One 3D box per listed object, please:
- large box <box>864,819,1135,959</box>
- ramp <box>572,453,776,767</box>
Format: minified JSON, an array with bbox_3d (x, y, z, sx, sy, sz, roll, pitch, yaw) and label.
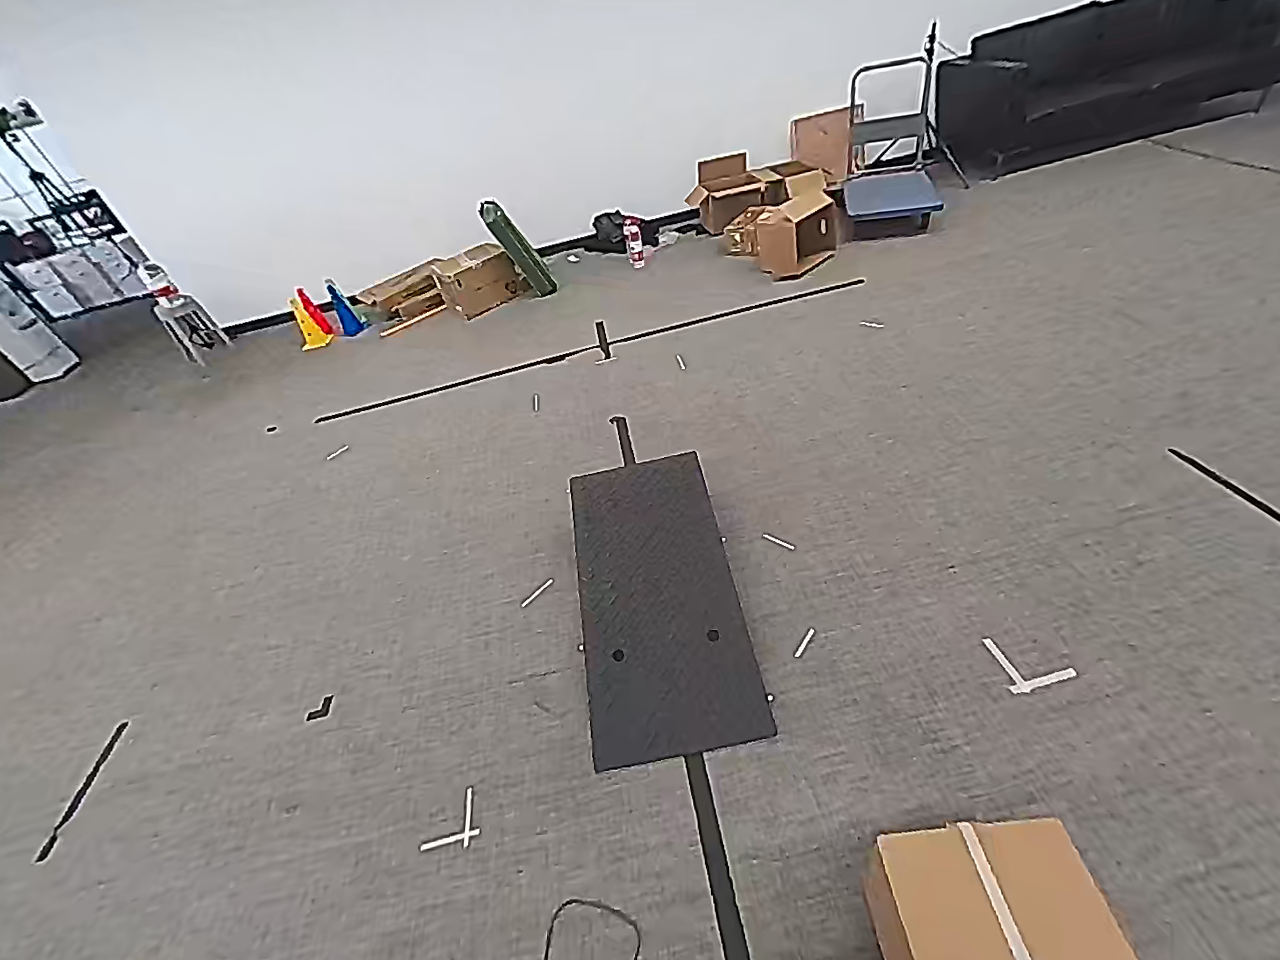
[{"bbox_3d":[0.606,0.848,0.896,0.320,0.320,0.408,-10,41,6],"label":"large box"},{"bbox_3d":[0.055,0.332,1.734,0.509,0.206,0.991,-13,41,0],"label":"ramp"}]
